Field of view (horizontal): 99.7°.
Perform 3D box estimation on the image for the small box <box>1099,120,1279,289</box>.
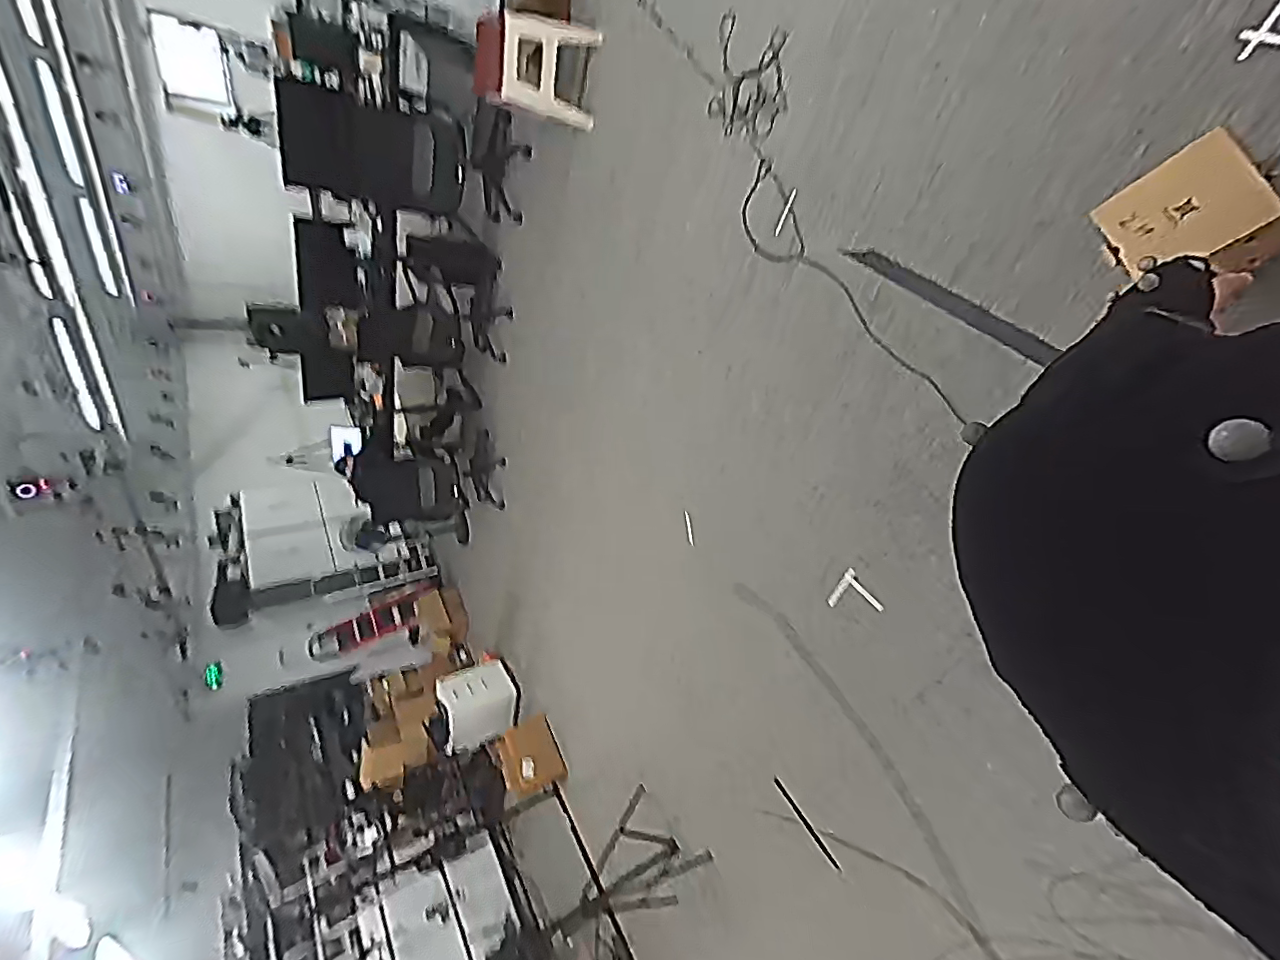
[{"bbox_3d":[0.910,-0.432,0.876,0.179,0.176,0.168,-38,67,54],"label":"small box"}]
